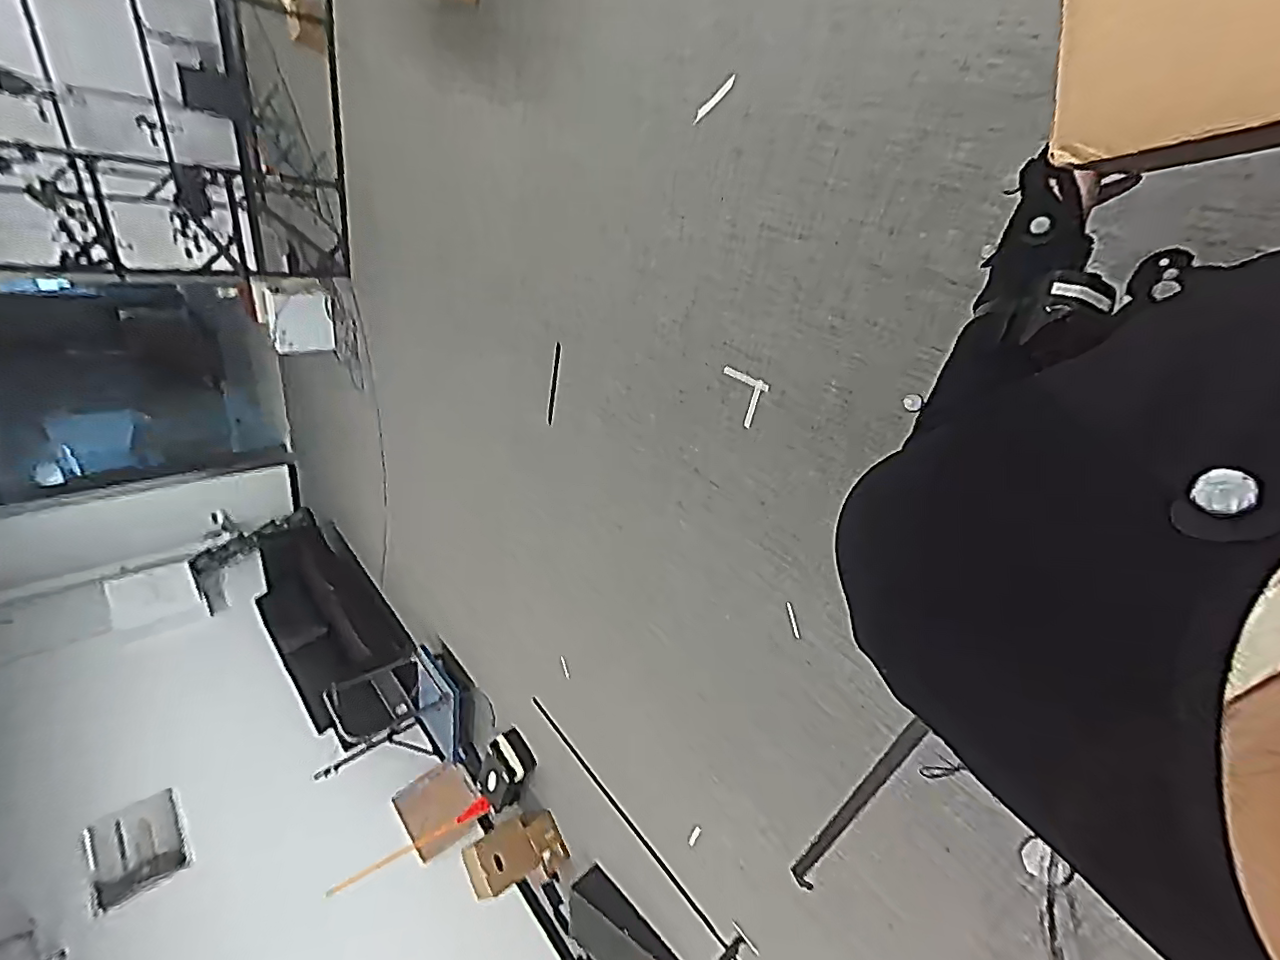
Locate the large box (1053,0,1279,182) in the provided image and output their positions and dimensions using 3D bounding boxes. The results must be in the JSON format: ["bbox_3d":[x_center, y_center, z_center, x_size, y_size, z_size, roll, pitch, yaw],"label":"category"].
[{"bbox_3d":[0.420,-0.327,0.186,0.408,0.320,0.320,8,117,44],"label":"large box"}]
